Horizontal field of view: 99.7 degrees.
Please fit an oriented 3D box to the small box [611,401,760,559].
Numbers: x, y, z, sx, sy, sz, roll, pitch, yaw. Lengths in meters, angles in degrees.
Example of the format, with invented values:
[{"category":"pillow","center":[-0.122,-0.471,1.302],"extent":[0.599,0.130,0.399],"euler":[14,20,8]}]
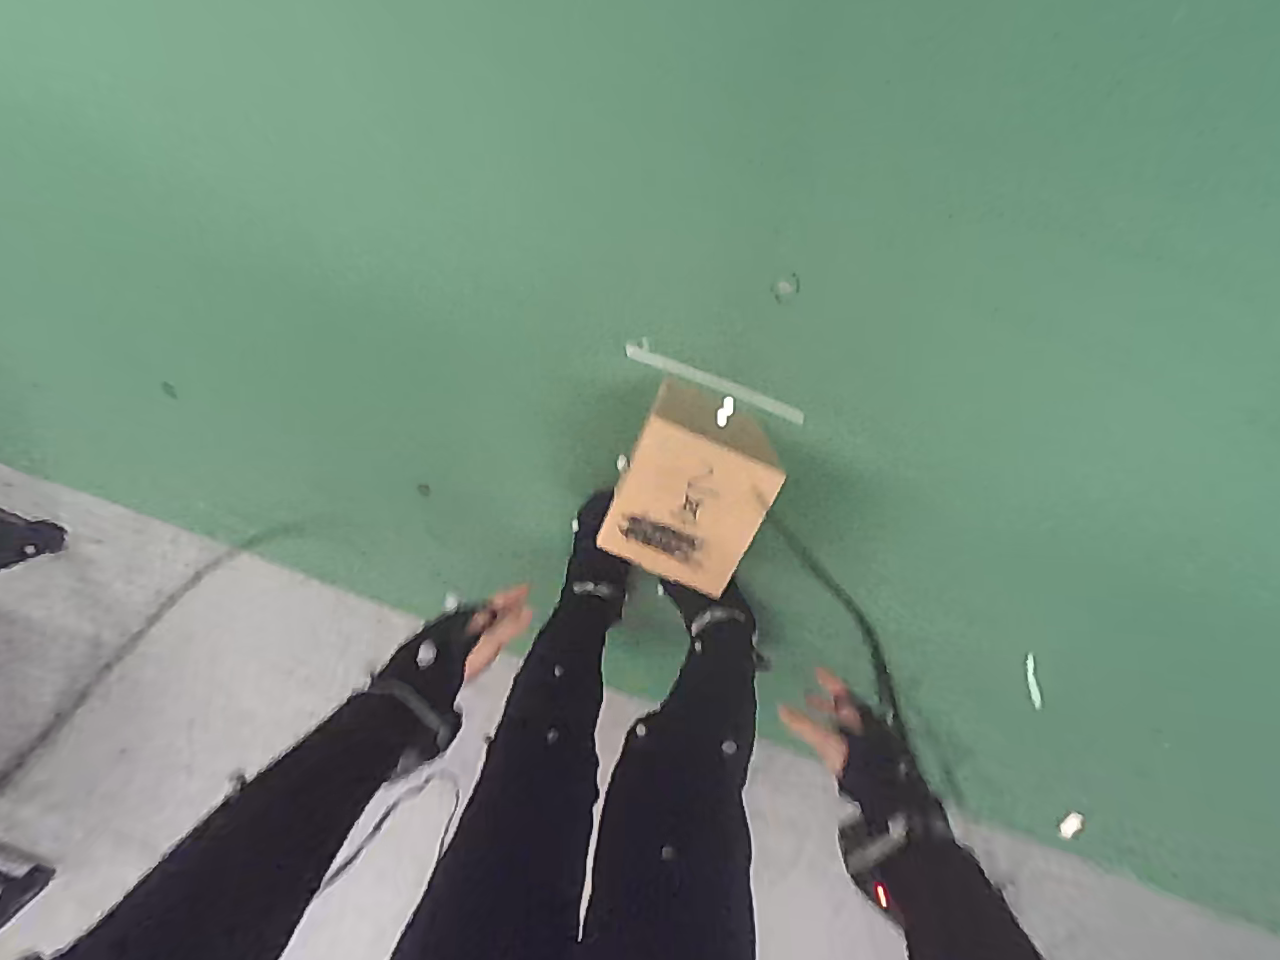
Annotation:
[{"category":"small box","center":[0.068,-0.010,0.863],"extent":[0.168,0.176,0.179],"euler":[24,108,-2]}]
